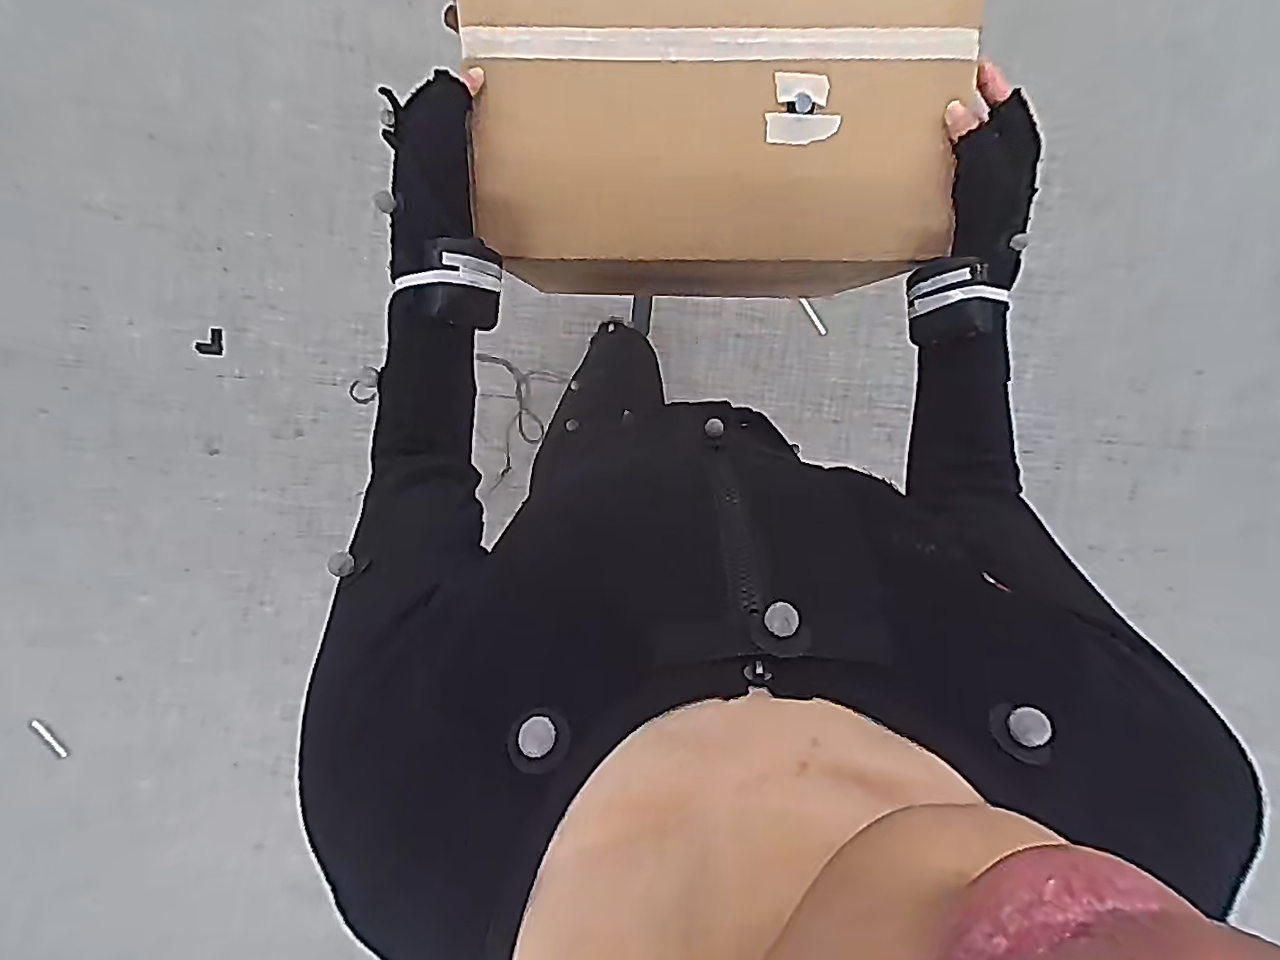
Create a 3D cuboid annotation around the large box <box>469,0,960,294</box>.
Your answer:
[{"bbox_3d":[0.057,-0.383,0.589,0.408,0.320,0.320,0,104,-1],"label":"large box"}]
